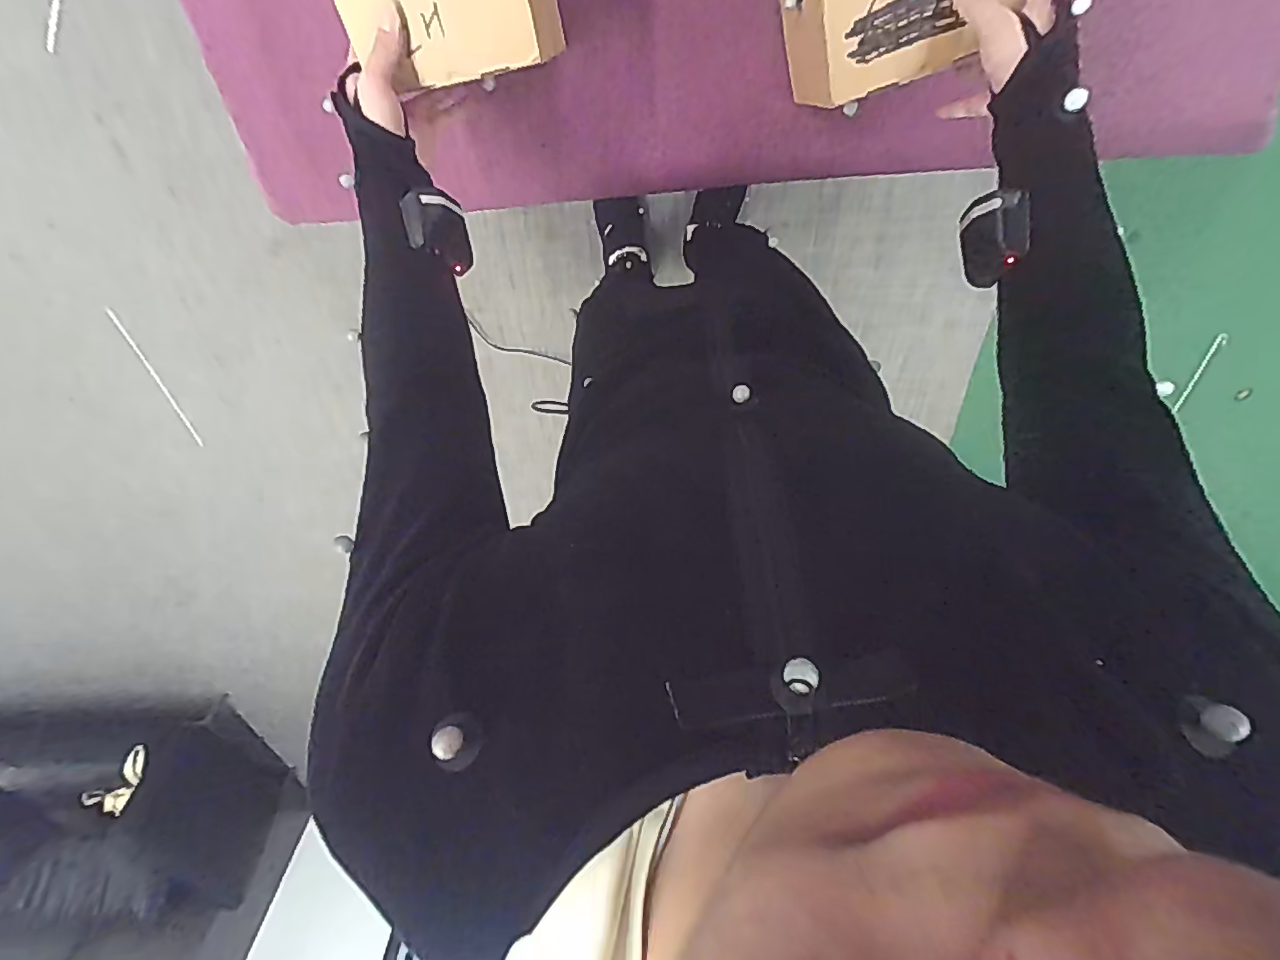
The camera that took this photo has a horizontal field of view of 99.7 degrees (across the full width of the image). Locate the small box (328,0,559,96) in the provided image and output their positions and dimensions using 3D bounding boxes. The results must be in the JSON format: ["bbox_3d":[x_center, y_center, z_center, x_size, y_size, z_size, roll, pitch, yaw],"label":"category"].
[{"bbox_3d":[-0.181,-0.476,0.491,0.168,0.176,0.179,-6,131,8],"label":"small box"}]
